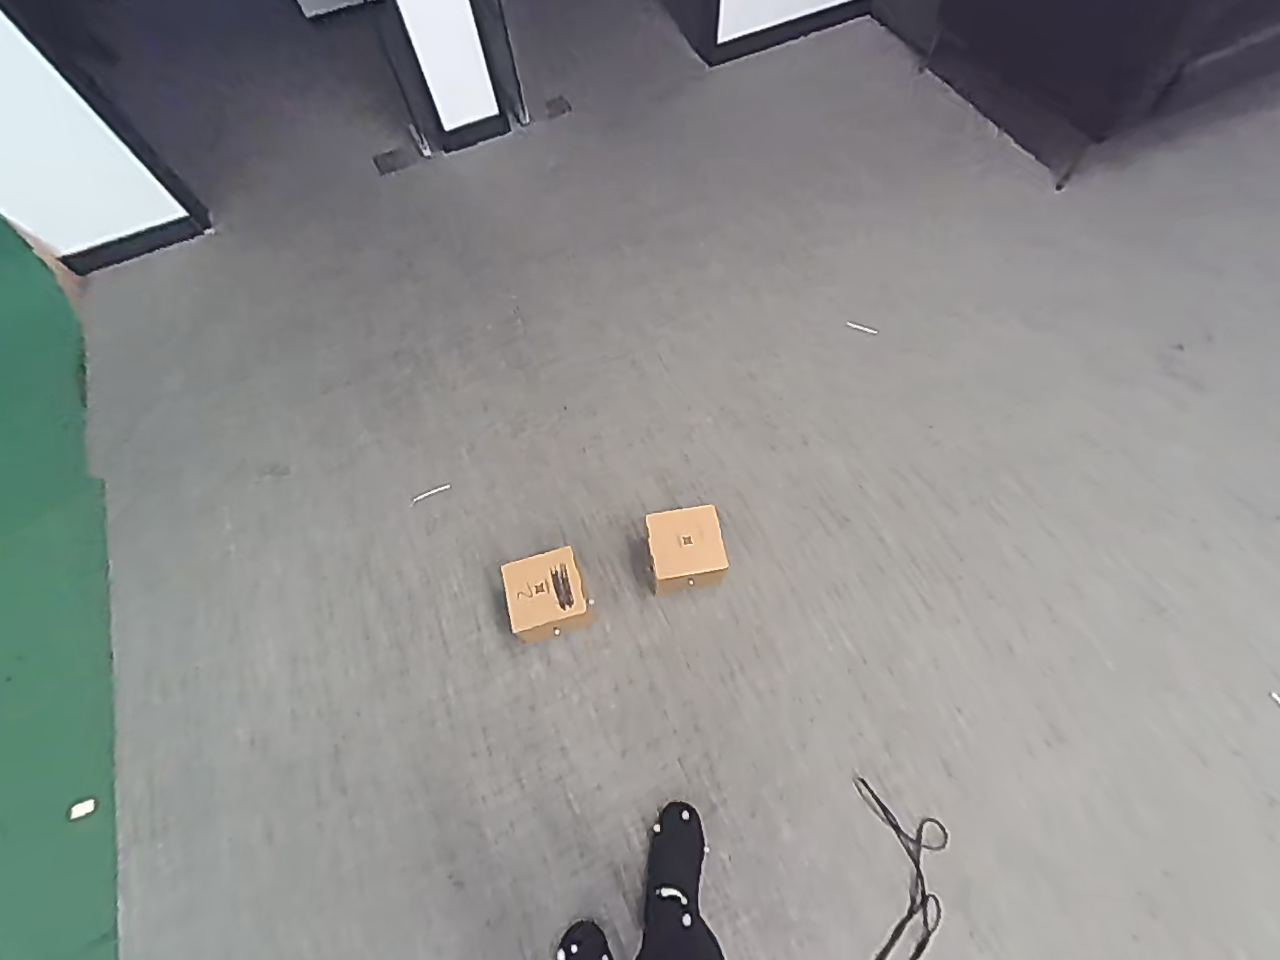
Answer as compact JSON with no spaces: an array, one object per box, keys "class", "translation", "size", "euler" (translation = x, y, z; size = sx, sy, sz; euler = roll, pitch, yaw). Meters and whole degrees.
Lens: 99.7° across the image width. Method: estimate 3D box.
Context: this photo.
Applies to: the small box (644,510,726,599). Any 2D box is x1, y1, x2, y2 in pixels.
[{"class":"small box","translation":[0.108,0.192,1.356],"size":[0.179,0.176,0.168],"euler":[-8,65,-2]}]
